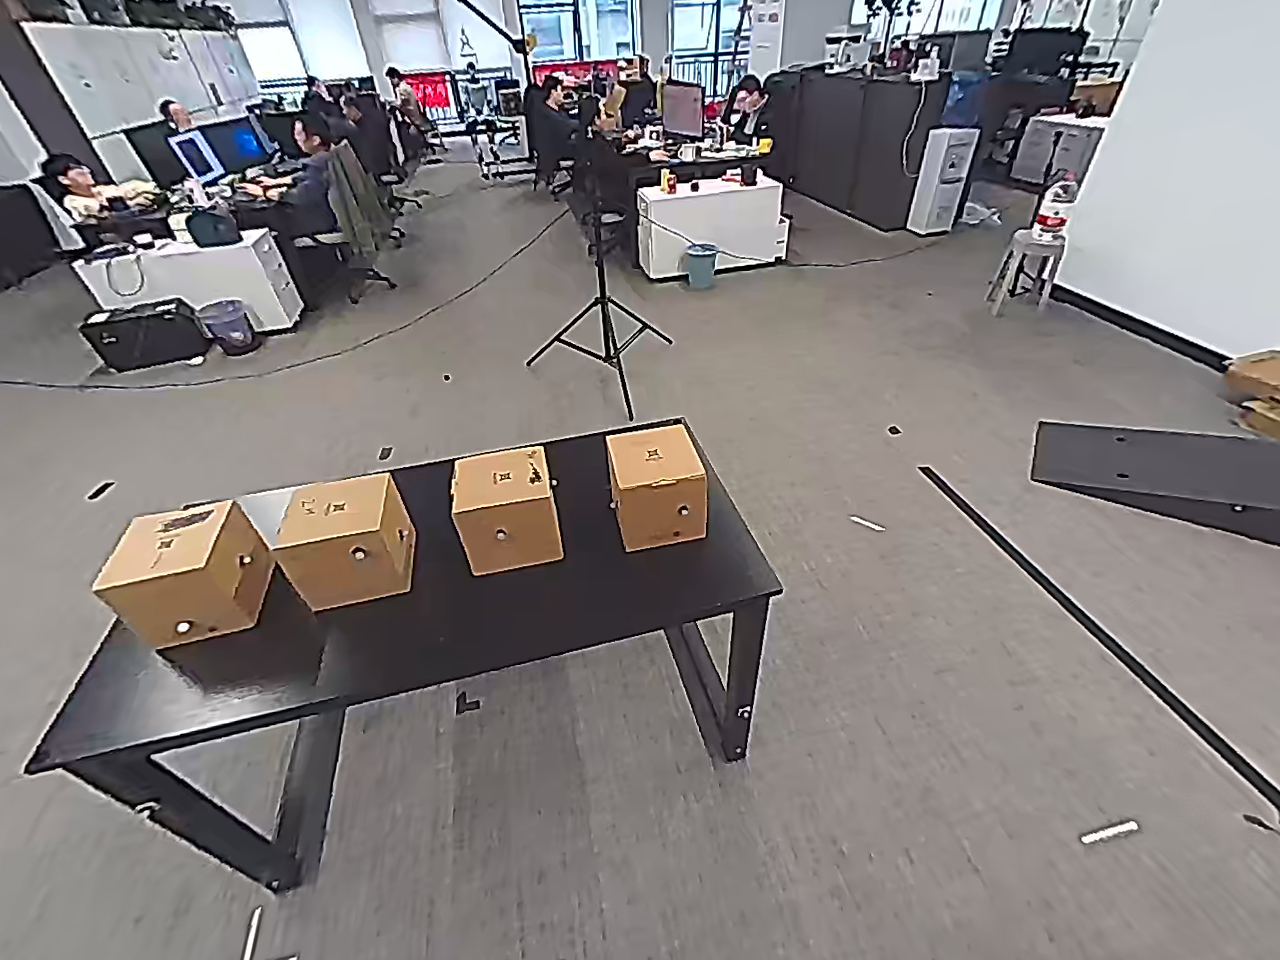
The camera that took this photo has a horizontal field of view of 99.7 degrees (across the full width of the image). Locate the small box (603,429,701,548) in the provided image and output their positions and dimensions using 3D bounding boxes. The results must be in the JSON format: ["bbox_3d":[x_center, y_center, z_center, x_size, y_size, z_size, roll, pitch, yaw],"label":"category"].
[{"bbox_3d":[0.024,0.022,1.100,0.168,0.176,0.179,-10,39,-7],"label":"small box"}]

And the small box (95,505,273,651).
[{"bbox_3d":[-0.802,0.175,0.979,0.168,0.176,0.179,-13,41,-11],"label":"small box"}]

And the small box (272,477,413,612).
[{"bbox_3d":[-0.545,0.122,1.022,0.179,0.176,0.168,-11,39,-10],"label":"small box"}]

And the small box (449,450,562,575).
[{"bbox_3d":[-0.261,0.066,1.070,0.179,0.176,0.168,-11,40,-7],"label":"small box"}]
